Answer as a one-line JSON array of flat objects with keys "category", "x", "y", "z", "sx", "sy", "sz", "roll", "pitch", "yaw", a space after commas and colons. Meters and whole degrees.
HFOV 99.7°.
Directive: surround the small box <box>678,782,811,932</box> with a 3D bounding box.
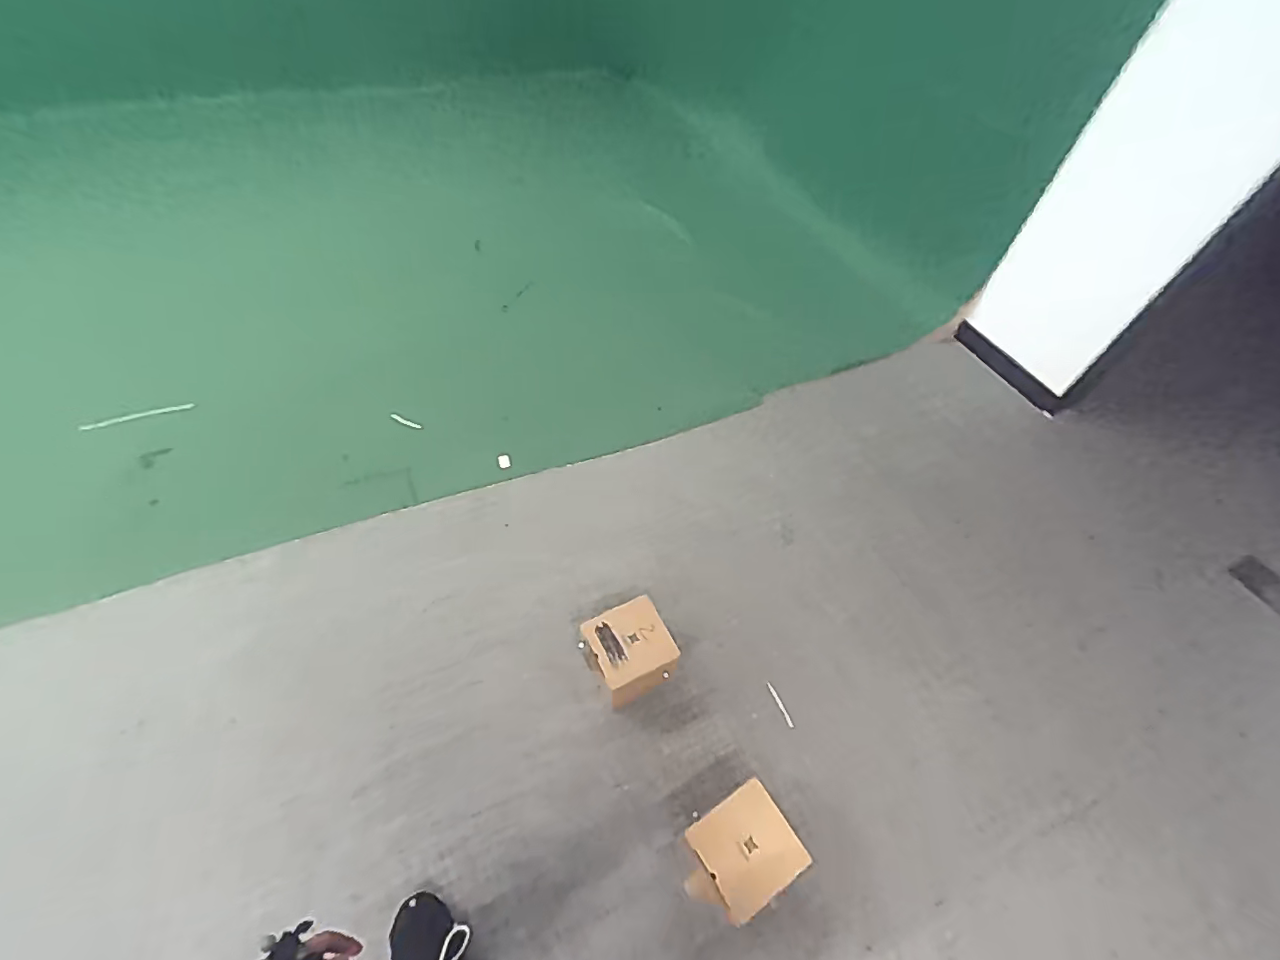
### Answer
[{"category": "small box", "x": 0.192, "y": 0.721, "z": 1.046, "sx": 0.179, "sy": 0.176, "sz": 0.168, "roll": -27, "pitch": 60, "yaw": -21}]
